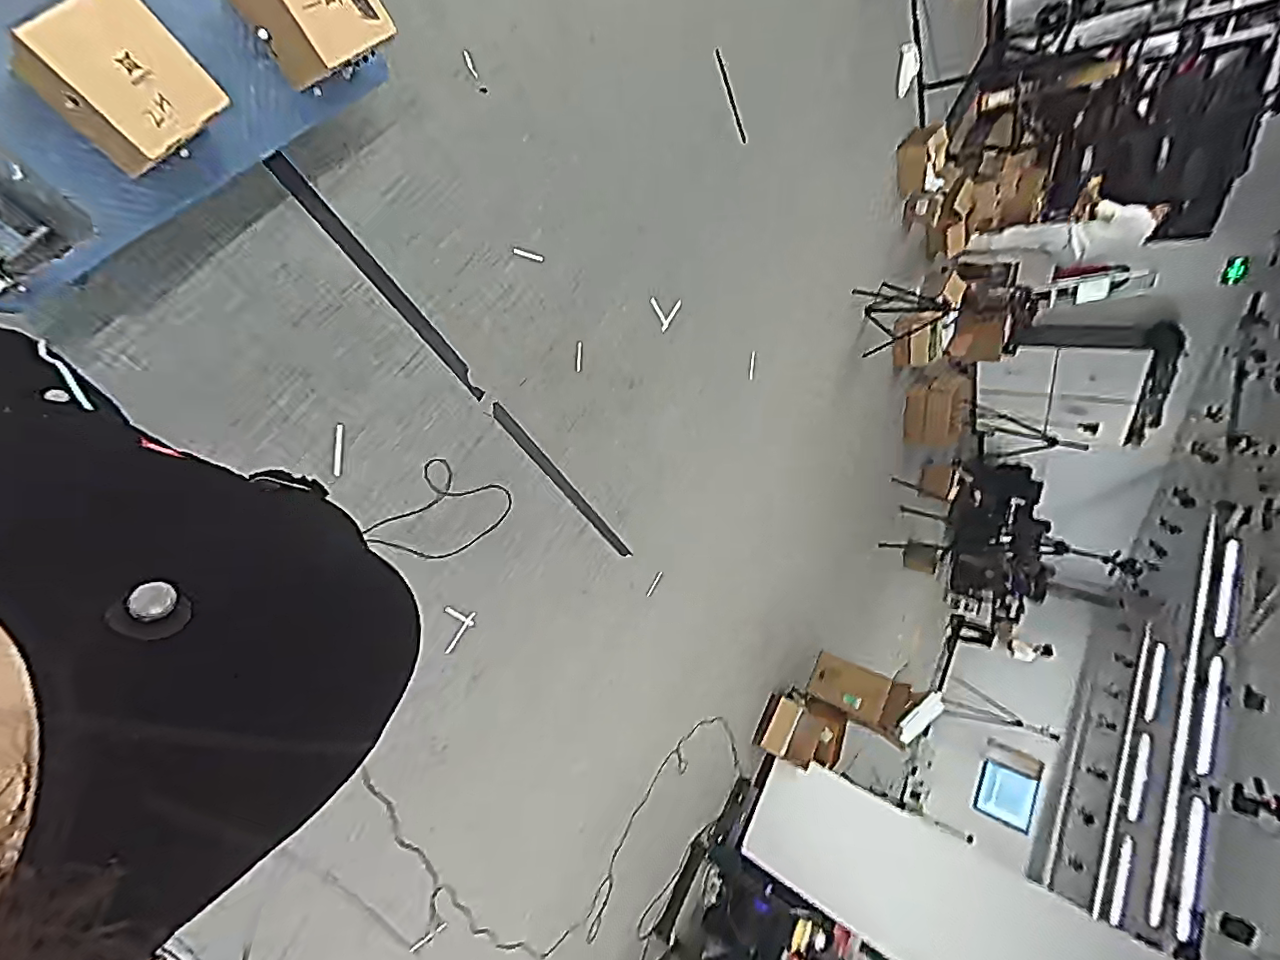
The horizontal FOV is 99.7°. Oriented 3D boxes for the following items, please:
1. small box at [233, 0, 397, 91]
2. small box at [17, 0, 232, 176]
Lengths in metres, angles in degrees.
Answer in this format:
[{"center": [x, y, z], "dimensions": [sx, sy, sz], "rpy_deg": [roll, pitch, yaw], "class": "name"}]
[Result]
[{"center": [-0.605, -0.867, 1.007], "dimensions": [0.179, 0.176, 0.168], "rpy_deg": [-54, 136, -24], "class": "small box"}, {"center": [-0.801, -0.612, 0.843], "dimensions": [0.168, 0.176, 0.179], "rpy_deg": [-58, 138, -21], "class": "small box"}]
